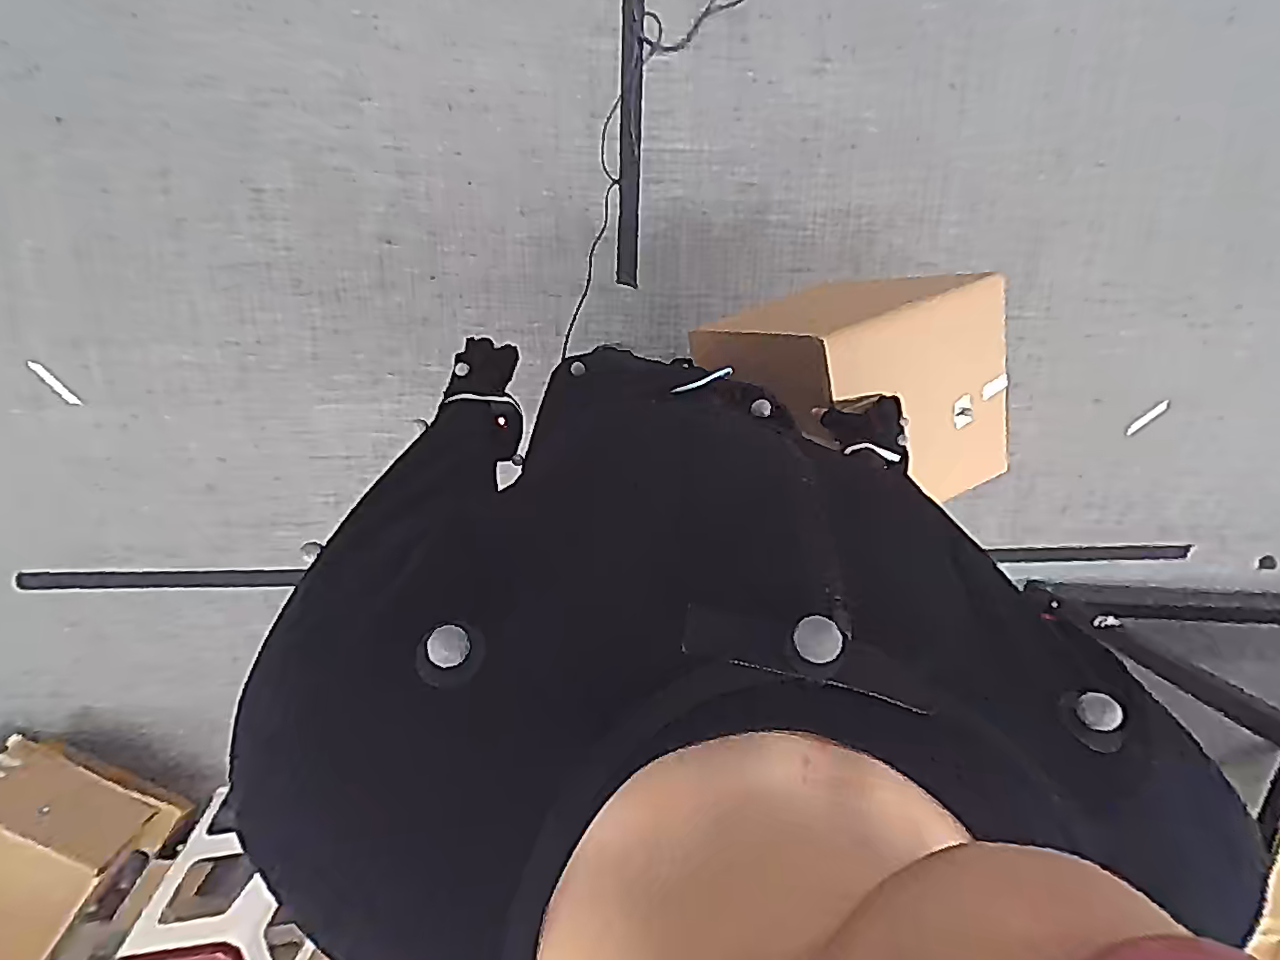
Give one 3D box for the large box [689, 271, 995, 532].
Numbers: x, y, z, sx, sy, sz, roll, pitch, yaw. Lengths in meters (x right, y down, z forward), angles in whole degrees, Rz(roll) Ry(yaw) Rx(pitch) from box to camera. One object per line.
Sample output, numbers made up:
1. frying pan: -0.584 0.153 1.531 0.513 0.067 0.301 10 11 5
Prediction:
1. large box: 0.338 -0.161 0.970 0.320 0.408 0.320 -22 112 -13
